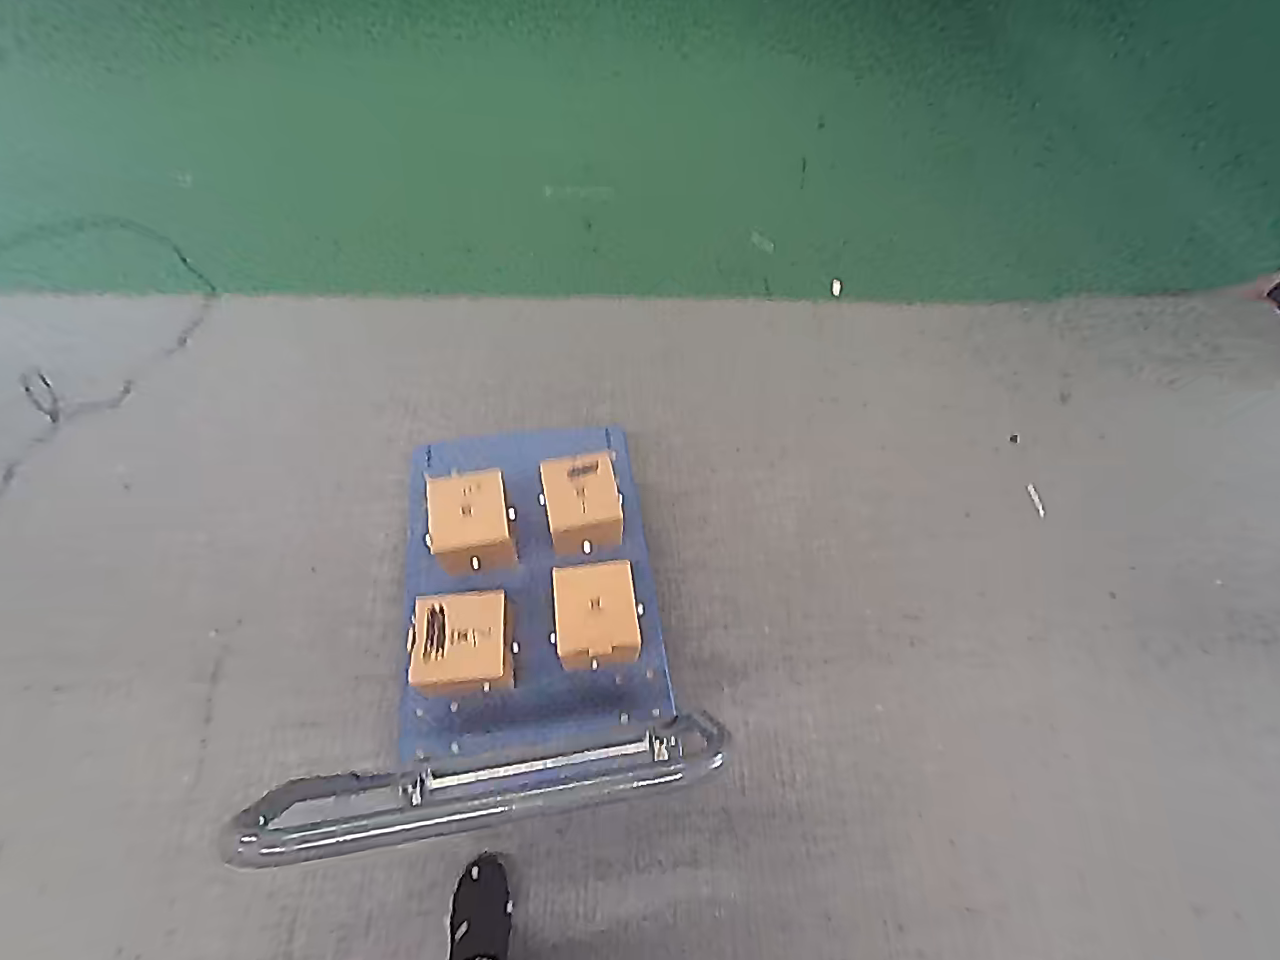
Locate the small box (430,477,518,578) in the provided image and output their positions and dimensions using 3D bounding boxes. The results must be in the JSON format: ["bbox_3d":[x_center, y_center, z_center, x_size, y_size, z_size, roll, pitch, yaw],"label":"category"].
[{"bbox_3d":[-0.382,0.118,1.258,0.168,0.176,0.179,-8,61,-10],"label":"small box"}]

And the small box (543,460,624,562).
[{"bbox_3d":[-0.137,0.077,1.298,0.168,0.176,0.179,-9,62,-8],"label":"small box"}]

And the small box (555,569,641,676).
[{"bbox_3d":[-0.095,0.311,1.168,0.168,0.176,0.179,-5,61,-7],"label":"small box"}]
